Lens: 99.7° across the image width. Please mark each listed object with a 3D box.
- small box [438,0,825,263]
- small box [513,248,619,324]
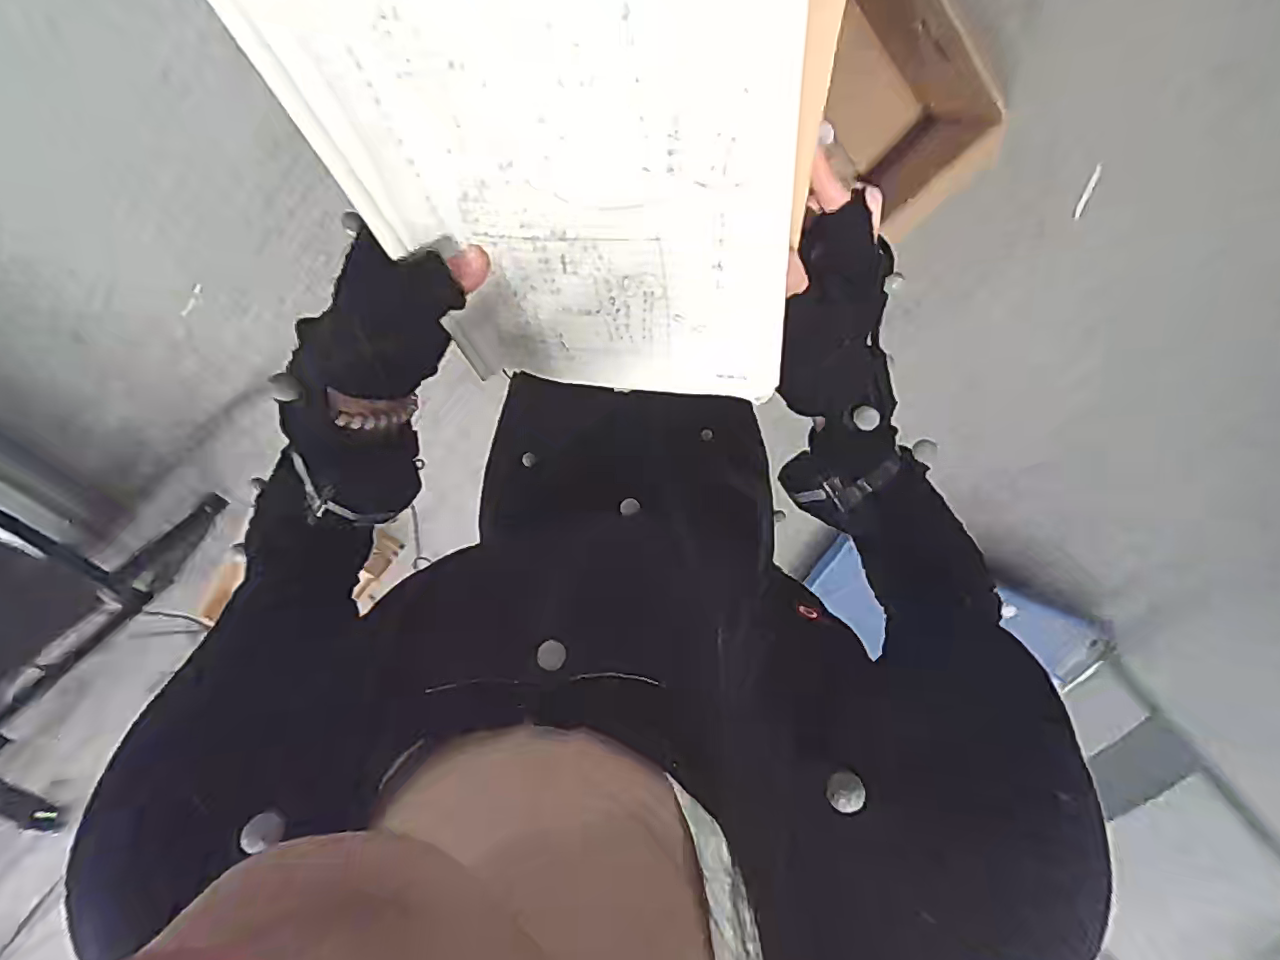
[{"bbox_3d":[0.006,-0.240,0.315,0.179,0.176,0.168,7,129,9],"label":"small box"},{"bbox_3d":[-0.168,-0.479,1.216,0.179,0.176,0.168,29,127,4],"label":"small box"}]
